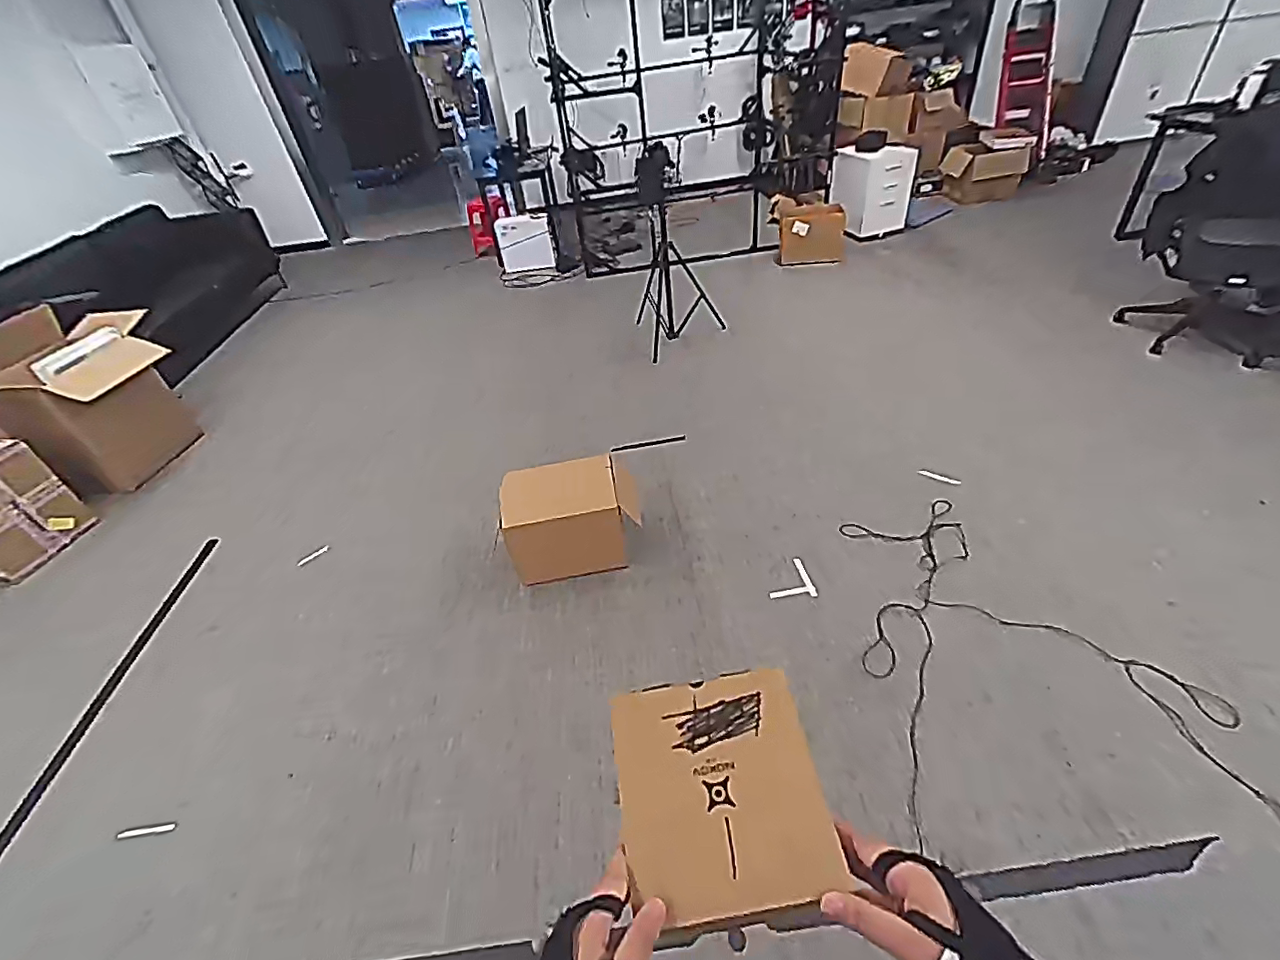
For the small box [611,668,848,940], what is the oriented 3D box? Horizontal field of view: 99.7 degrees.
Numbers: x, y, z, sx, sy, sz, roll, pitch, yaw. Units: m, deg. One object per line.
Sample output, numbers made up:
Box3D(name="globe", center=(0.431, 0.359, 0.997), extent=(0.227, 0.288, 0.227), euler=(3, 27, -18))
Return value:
Box3D(name="small box", center=(0.069, 0.305, 0.510), extent=(0.168, 0.176, 0.179), euler=(-10, 48, -1))
